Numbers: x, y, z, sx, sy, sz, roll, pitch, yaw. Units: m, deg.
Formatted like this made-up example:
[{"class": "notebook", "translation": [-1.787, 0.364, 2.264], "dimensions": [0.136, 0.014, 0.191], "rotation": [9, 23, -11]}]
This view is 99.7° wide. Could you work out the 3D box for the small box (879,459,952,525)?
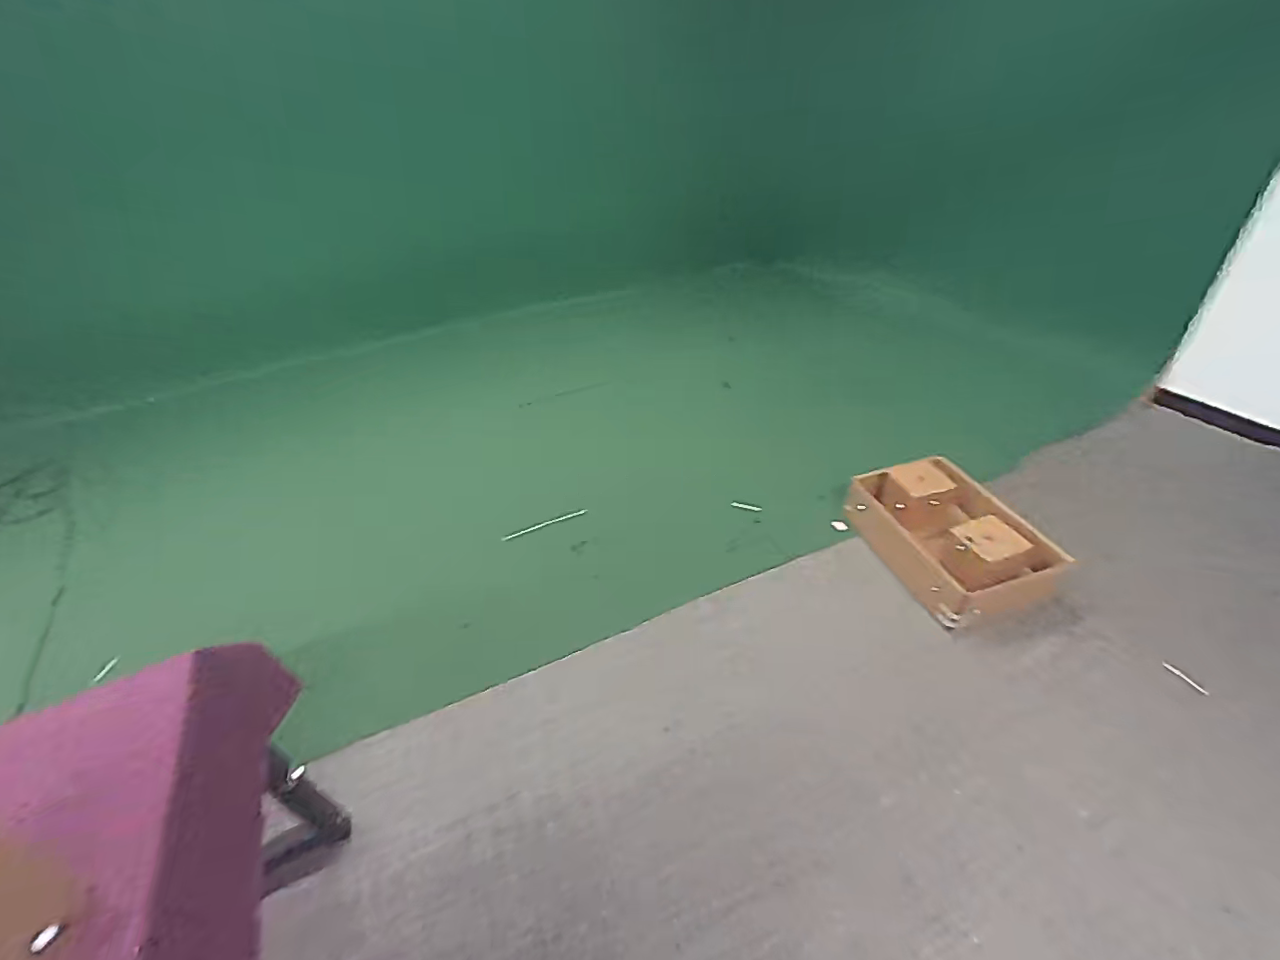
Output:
[{"class": "small box", "translation": [1.027, 0.048, 2.037], "dimensions": [0.179, 0.176, 0.168], "rotation": [-12, 40, -8]}]
